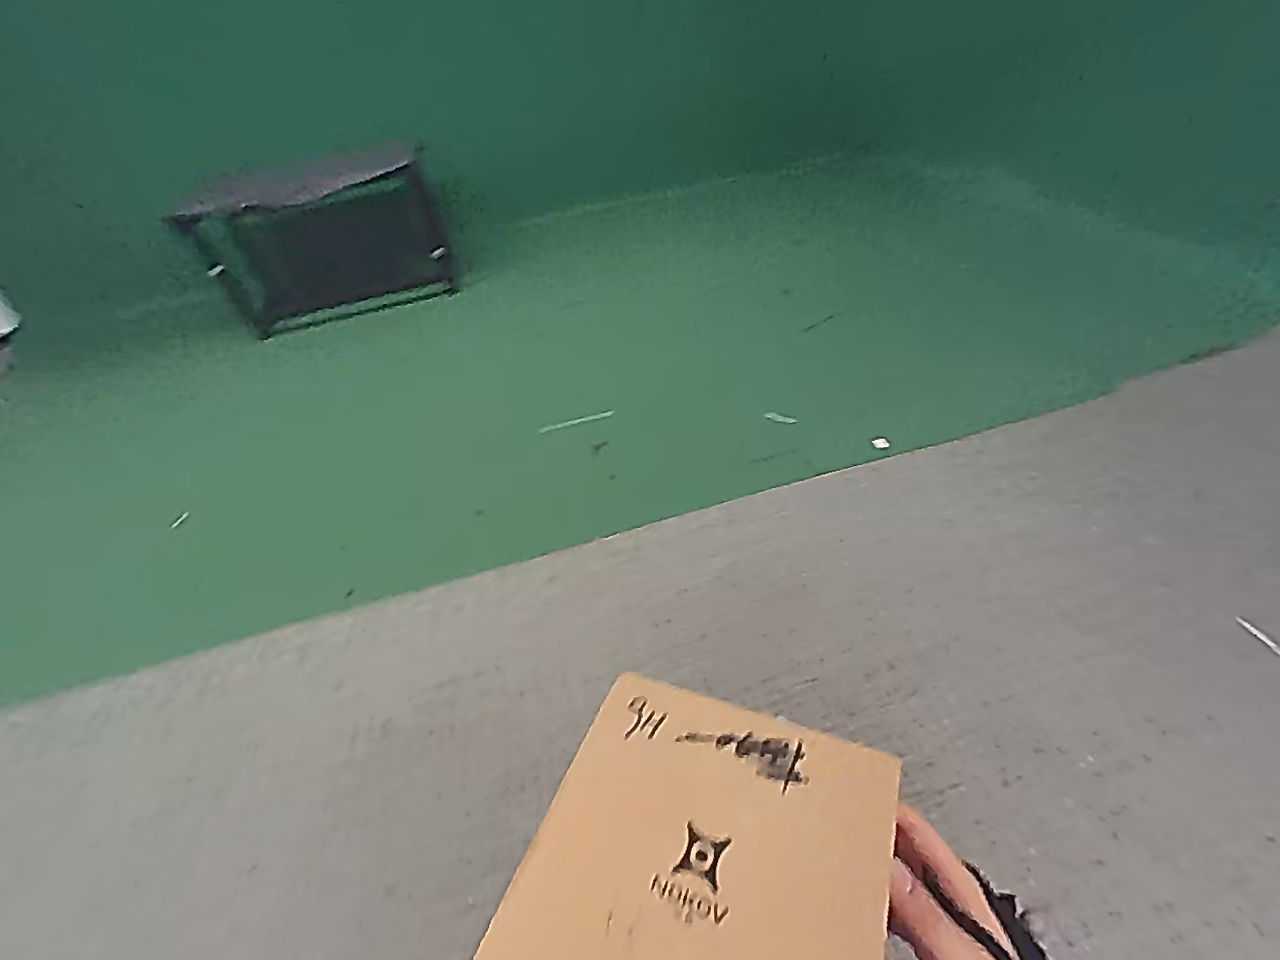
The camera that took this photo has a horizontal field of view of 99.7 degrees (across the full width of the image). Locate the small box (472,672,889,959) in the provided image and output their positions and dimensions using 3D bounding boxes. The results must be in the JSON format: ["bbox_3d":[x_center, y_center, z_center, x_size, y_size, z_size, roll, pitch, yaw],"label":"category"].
[{"bbox_3d":[0.039,0.249,0.308,0.168,0.176,0.179,8,43,26],"label":"small box"}]
